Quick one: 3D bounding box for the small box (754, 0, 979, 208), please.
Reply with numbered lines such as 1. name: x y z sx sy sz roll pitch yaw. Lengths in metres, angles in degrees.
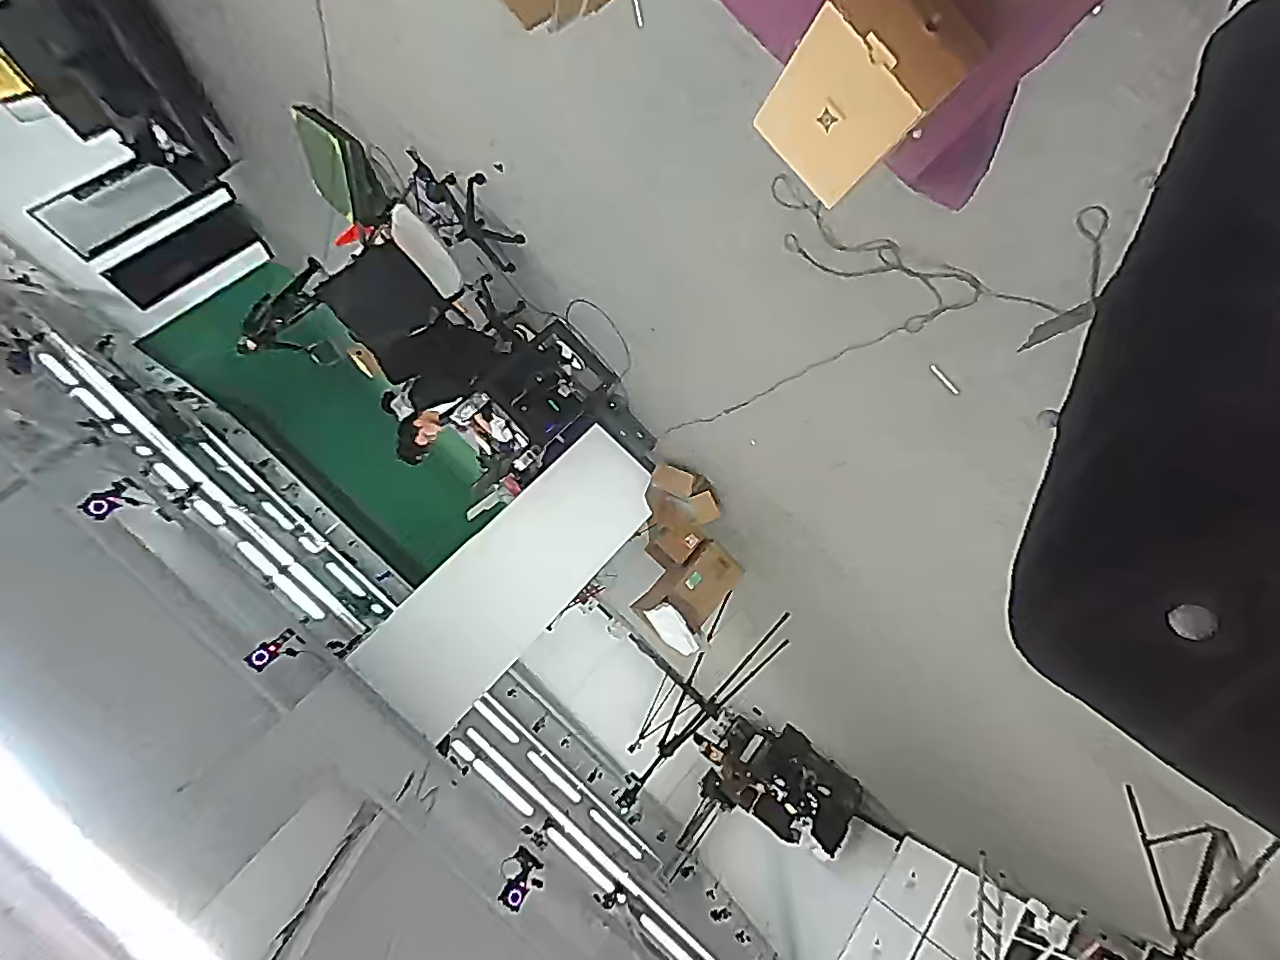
1. small box: 0.291 -0.511 0.708 0.168 0.176 0.179 46 160 -4
